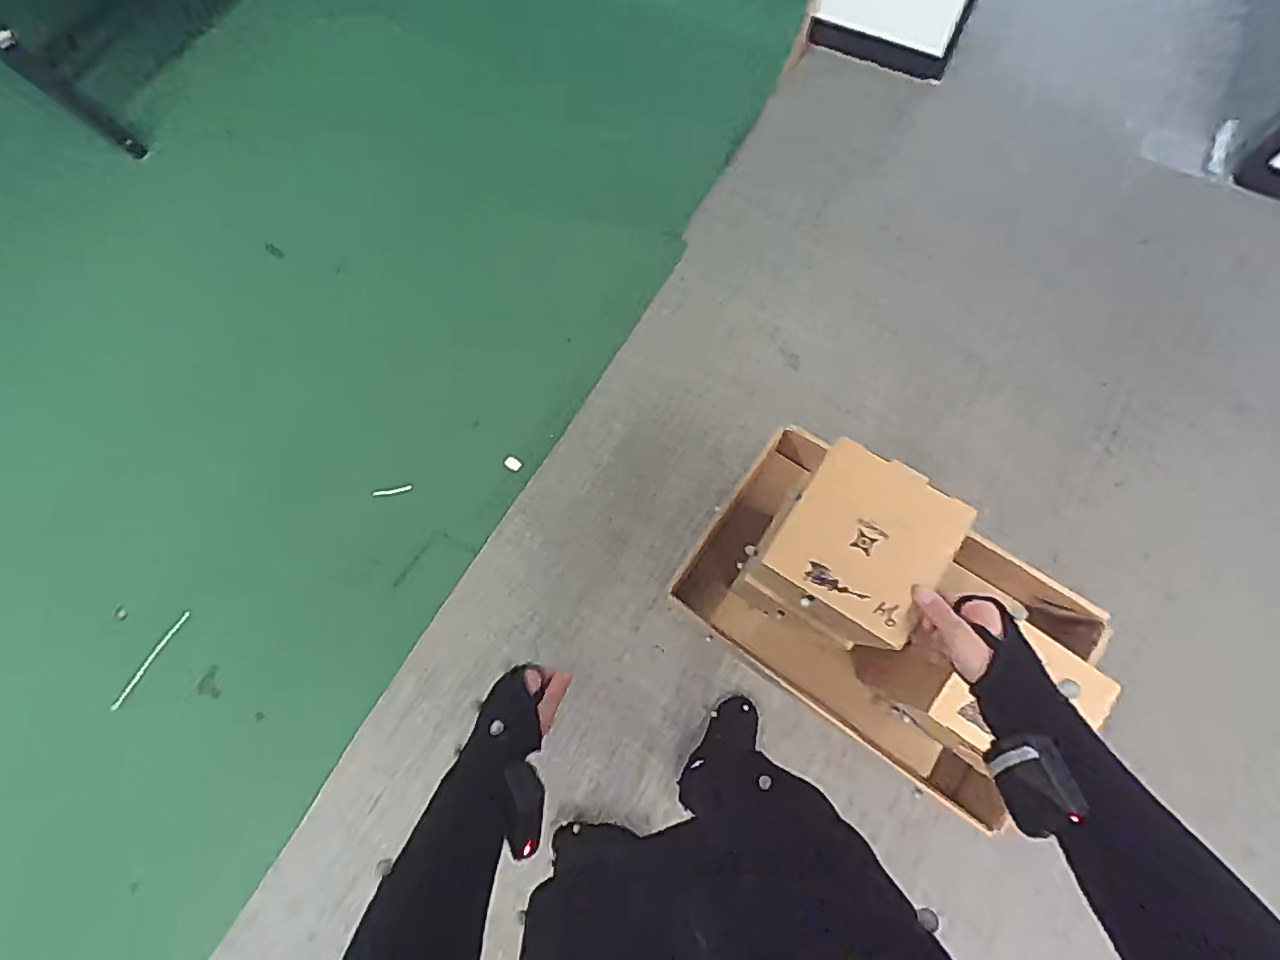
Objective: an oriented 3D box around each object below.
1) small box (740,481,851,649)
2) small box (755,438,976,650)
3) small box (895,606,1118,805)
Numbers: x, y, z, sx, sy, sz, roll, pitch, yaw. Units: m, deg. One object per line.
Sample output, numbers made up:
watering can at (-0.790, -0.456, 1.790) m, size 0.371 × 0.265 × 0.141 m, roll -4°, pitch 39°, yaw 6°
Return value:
small box at (0.265, 0.130, 0.815) m, size 0.168 × 0.176 × 0.179 m, roll 34°, pitch 82°, yaw 12°
small box at (0.254, 0.083, 0.658) m, size 0.168 × 0.176 × 0.179 m, roll 33°, pitch 81°, yaw 14°
small box at (0.484, 0.298, 0.750) m, size 0.168 × 0.176 × 0.179 m, roll 37°, pitch 81°, yaw 14°
